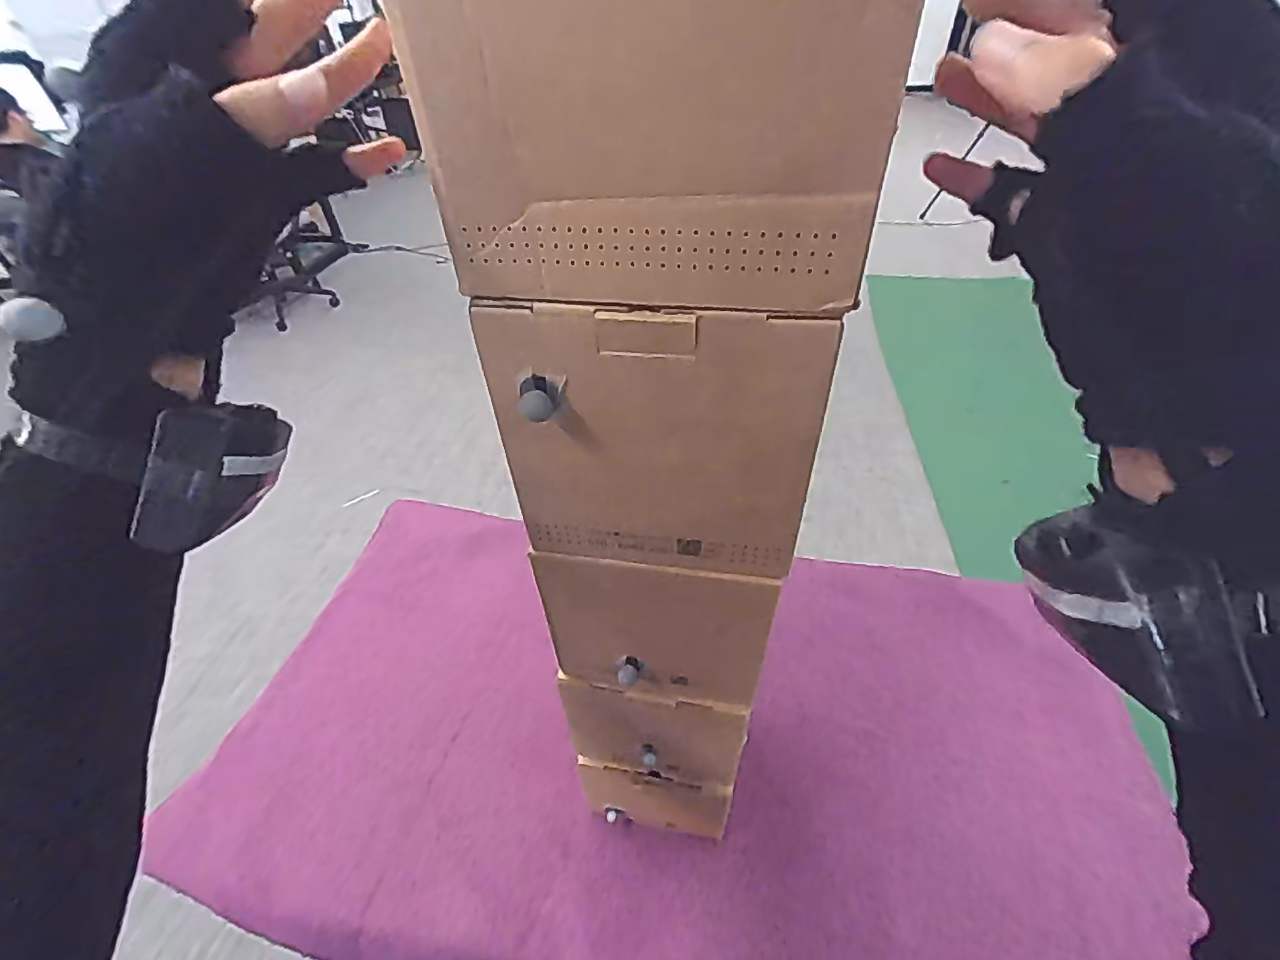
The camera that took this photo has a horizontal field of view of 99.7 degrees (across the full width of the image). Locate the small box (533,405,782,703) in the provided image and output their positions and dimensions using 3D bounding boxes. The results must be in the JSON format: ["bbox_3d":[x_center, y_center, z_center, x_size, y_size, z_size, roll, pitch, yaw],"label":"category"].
[{"bbox_3d":[0.025,0.059,0.464,0.168,0.176,0.179,6,44,10],"label":"small box"}]

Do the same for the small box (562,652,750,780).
[{"bbox_3d":[0.029,0.182,0.570,0.168,0.176,0.179,6,44,10],"label":"small box"}]

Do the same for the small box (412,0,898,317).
[{"bbox_3d":[0.012,-0.187,0.249,0.179,0.176,0.168,6,42,9],"label":"small box"}]

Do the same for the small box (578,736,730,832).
[{"bbox_3d":[0.034,0.308,0.675,0.168,0.176,0.179,7,43,10],"label":"small box"}]
